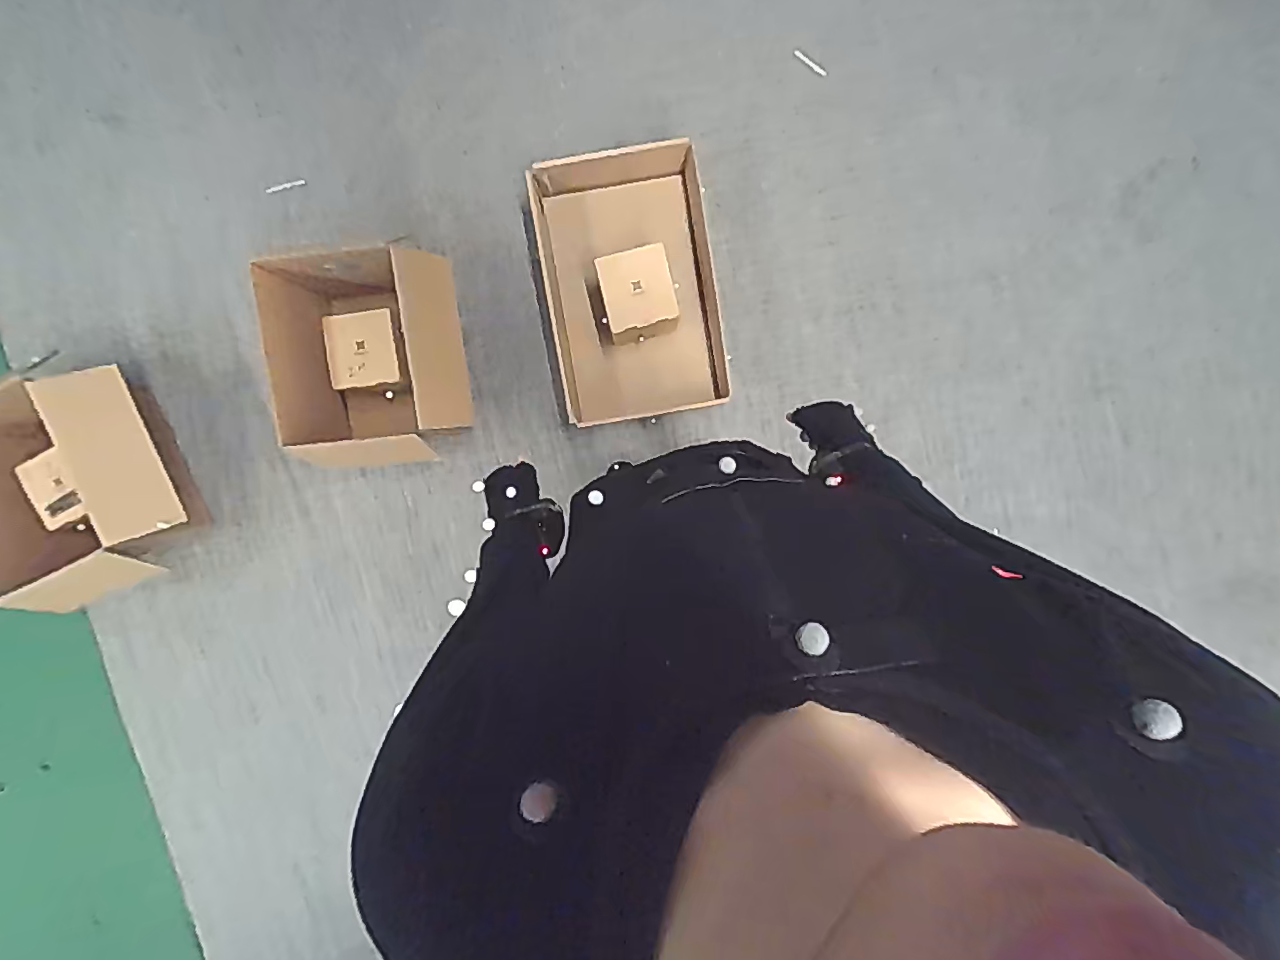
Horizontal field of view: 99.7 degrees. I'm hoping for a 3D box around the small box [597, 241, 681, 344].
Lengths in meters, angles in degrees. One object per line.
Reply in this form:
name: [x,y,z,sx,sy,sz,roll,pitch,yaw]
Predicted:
small box: [-0.004,-0.449,1.318,0.168,0.176,0.179,-14,94,1]
